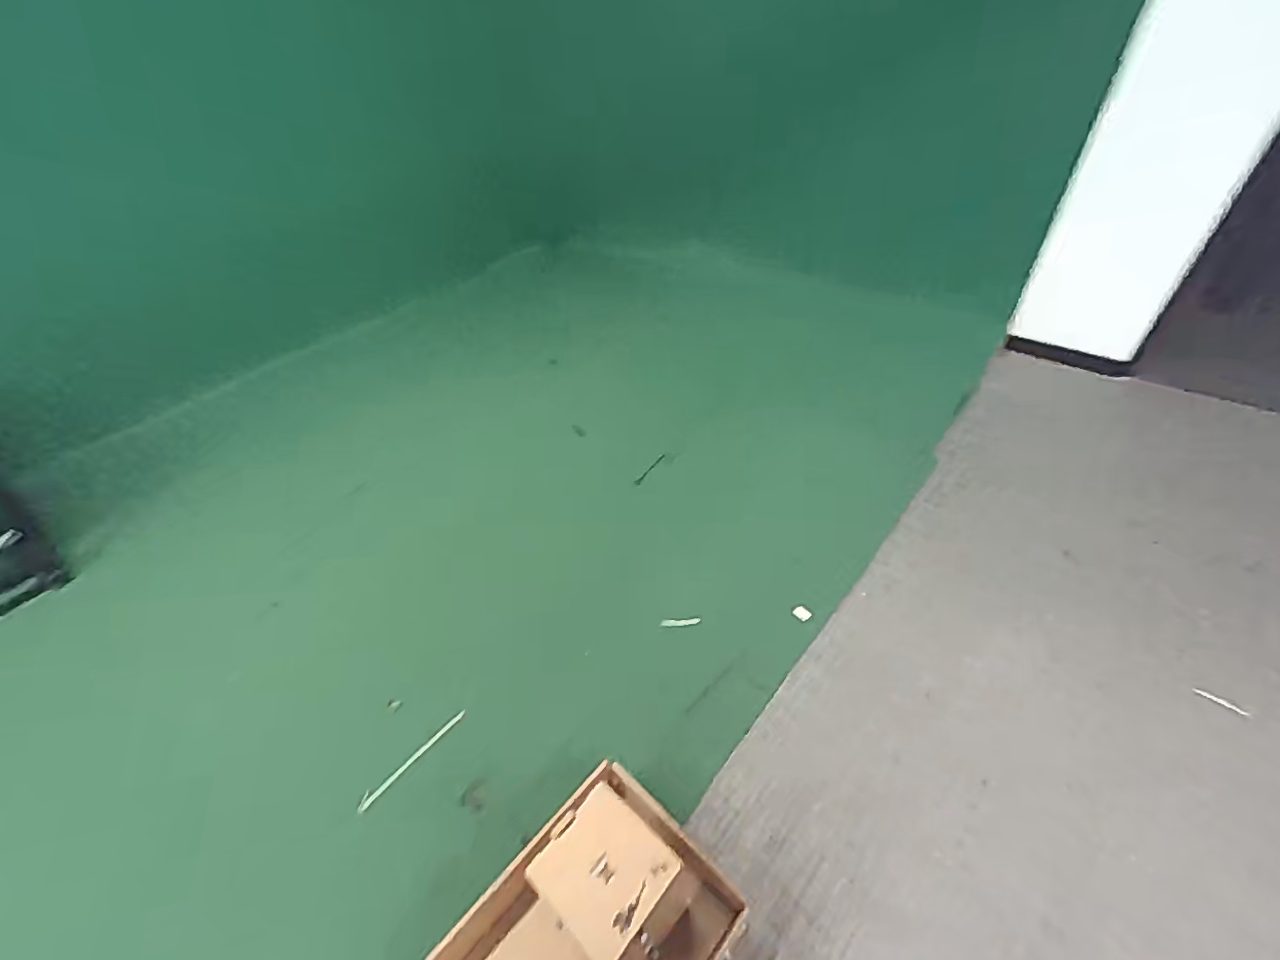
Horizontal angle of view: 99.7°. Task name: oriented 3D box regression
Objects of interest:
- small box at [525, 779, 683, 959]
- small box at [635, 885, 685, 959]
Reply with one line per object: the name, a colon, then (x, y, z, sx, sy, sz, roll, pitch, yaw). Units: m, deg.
small box: (-0.049, 0.620, 0.846, 0.179, 0.176, 0.168, 29, 55, 31)
small box: (-0.037, 0.736, 0.962, 0.179, 0.176, 0.168, 34, 58, 31)
